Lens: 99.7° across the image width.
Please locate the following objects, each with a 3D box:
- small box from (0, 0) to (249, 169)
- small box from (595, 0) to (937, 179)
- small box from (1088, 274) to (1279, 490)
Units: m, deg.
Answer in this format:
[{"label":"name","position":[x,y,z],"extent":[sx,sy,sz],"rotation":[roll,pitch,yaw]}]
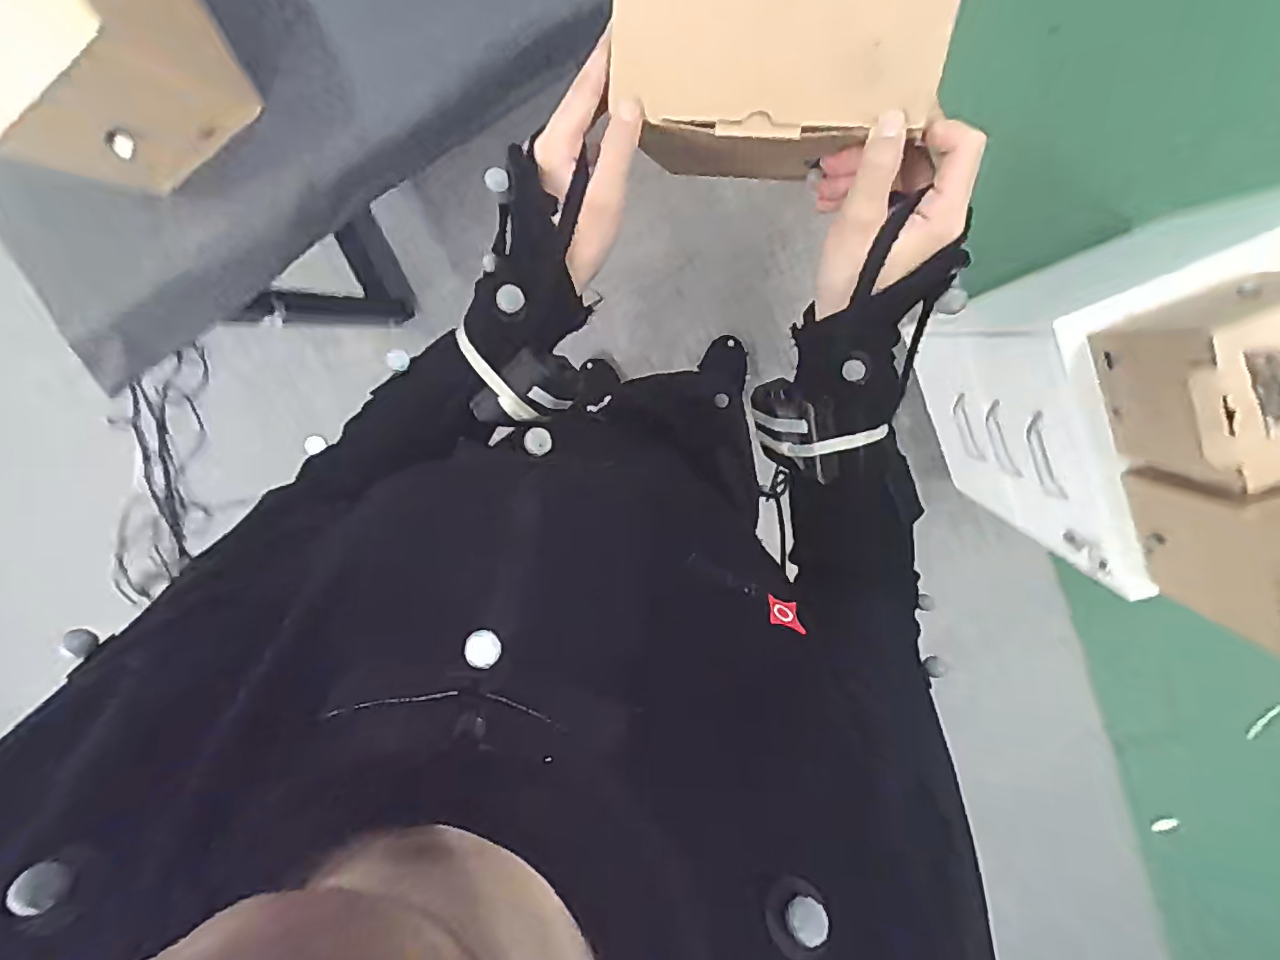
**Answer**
[{"label":"small box","position":[-0.522,-0.420,0.498],"extent":[0.168,0.176,0.179],"rotation":[-27,100,13]},{"label":"small box","position":[0.079,-0.290,0.321],"extent":[0.168,0.176,0.179],"rotation":[9,112,10]},{"label":"small box","position":[0.630,-0.110,0.580],"extent":[0.179,0.176,0.168],"rotation":[-21,102,11]}]
